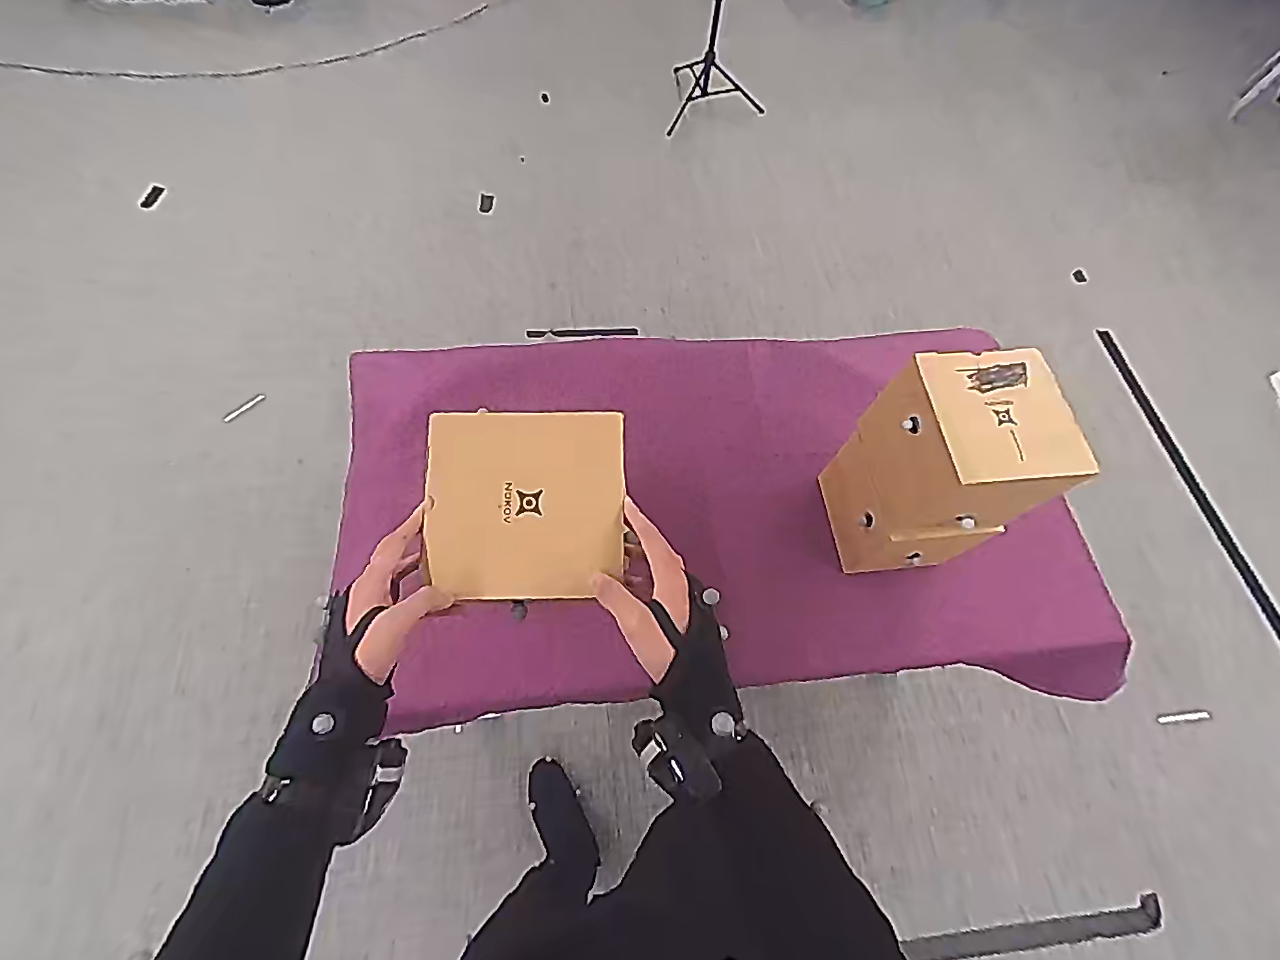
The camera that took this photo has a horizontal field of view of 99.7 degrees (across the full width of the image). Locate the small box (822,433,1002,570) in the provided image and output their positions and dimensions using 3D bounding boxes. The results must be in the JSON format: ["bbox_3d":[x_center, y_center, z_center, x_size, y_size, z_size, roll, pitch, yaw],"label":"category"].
[{"bbox_3d":[0.406,0.036,0.842,0.168,0.176,0.179,-4,66,-5],"label":"small box"}]

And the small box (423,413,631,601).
[{"bbox_3d":[-0.098,0.037,0.550,0.179,0.176,0.168,-1,77,-1],"label":"small box"}]

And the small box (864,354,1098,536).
[{"bbox_3d":[0.415,-0.040,0.697,0.168,0.176,0.179,-4,66,-4],"label":"small box"}]
